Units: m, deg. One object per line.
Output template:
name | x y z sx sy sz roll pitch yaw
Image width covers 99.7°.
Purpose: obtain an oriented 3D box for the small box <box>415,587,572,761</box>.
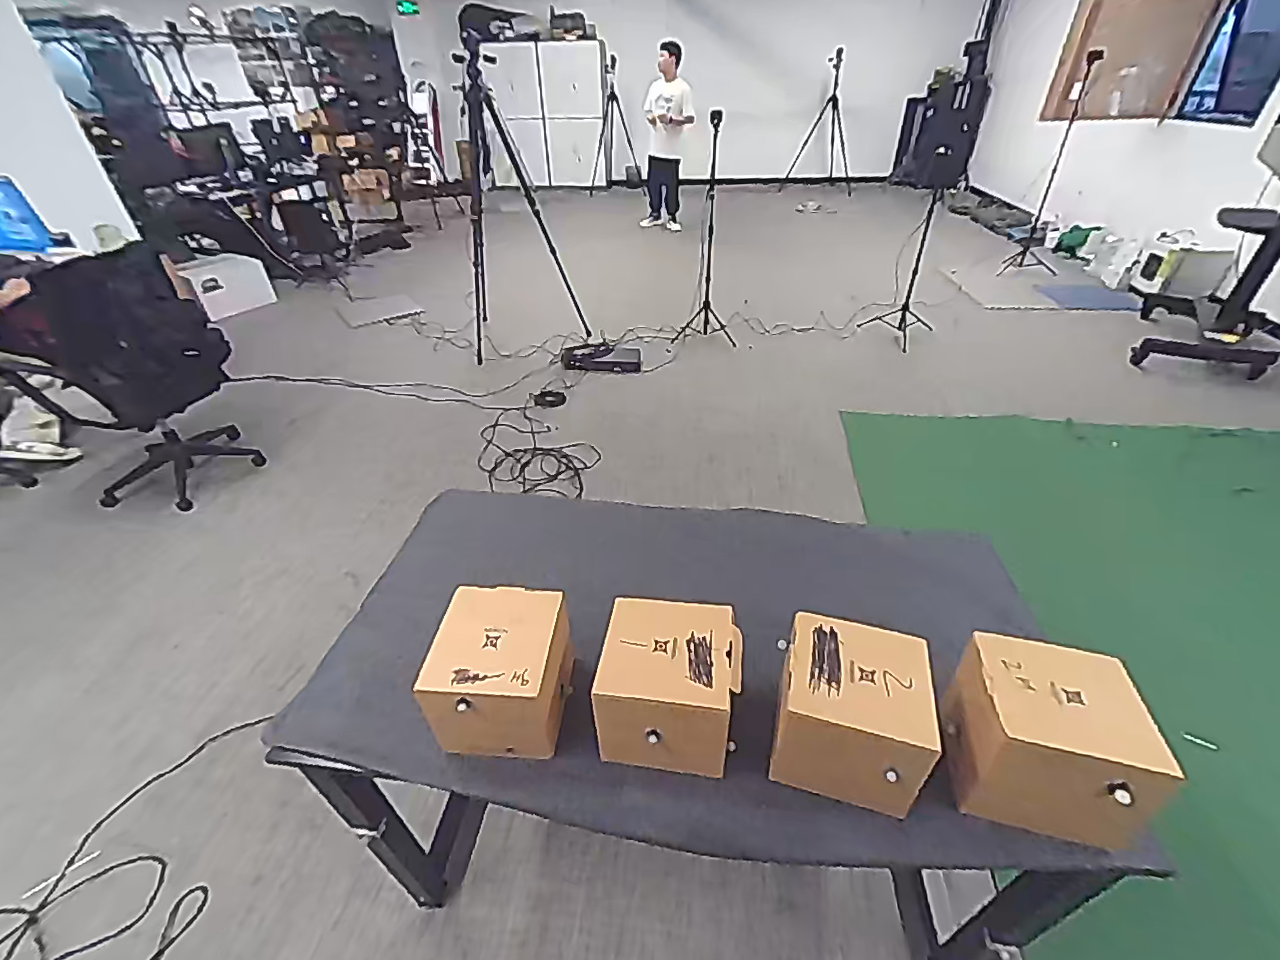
small box | -0.200 0.282 0.800 0.168 0.176 0.179 1 37 6
